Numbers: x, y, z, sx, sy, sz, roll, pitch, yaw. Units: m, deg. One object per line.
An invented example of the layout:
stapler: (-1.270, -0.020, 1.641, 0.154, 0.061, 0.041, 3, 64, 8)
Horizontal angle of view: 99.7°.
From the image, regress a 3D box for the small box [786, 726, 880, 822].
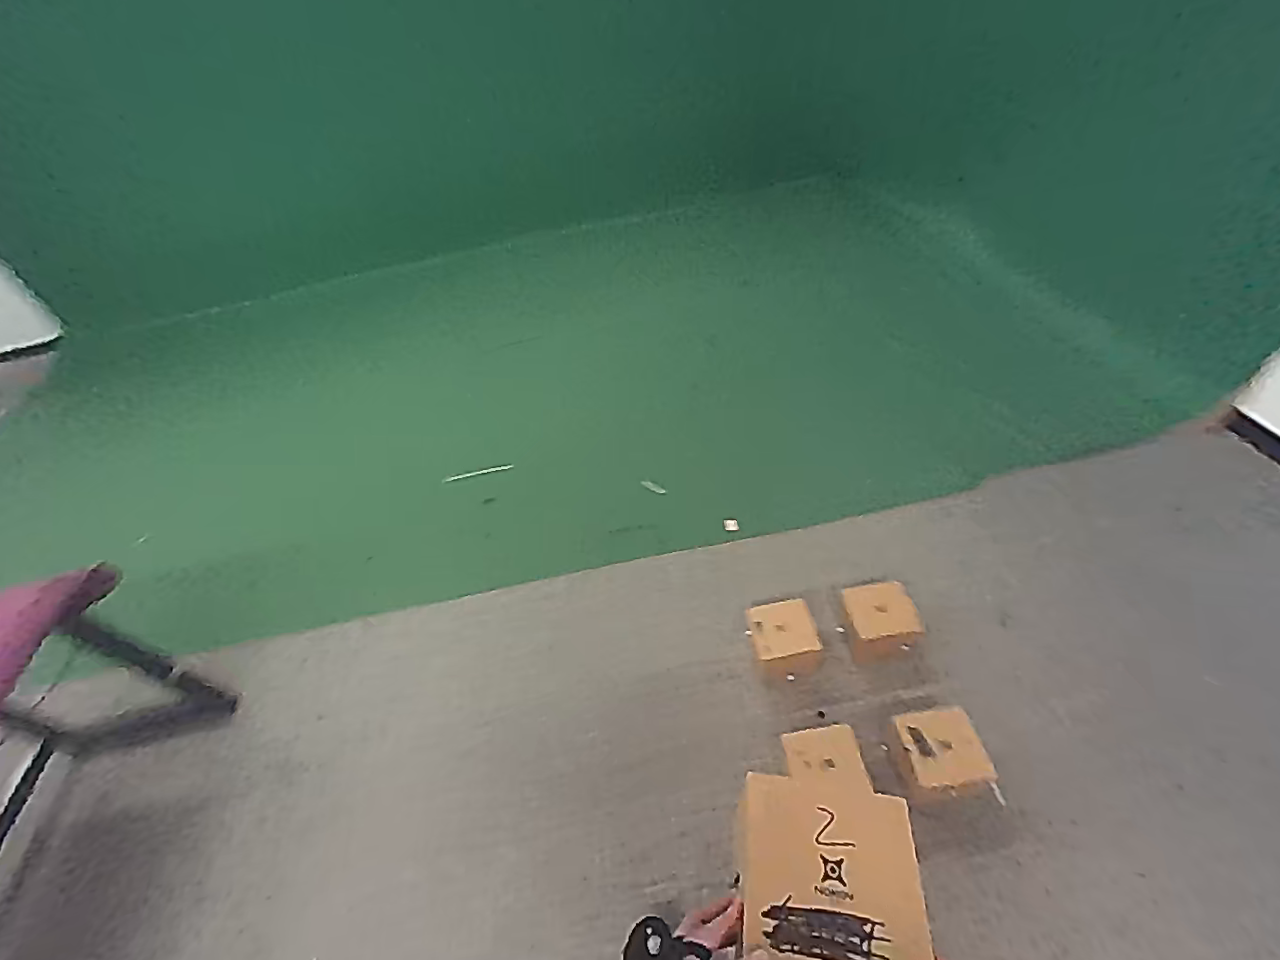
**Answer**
small box: (0.473, 0.740, 1.355, 0.179, 0.176, 0.168, -11, 46, 3)

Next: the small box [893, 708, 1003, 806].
small box: (0.746, 0.688, 1.337, 0.179, 0.176, 0.168, -10, 46, 3)

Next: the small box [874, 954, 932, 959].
small box: (0.506, 1.054, 1.056, 0.168, 0.176, 0.179, -11, 47, 4)

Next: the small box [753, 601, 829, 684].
small box: (0.439, 0.484, 1.602, 0.179, 0.176, 0.168, -11, 45, 2)
